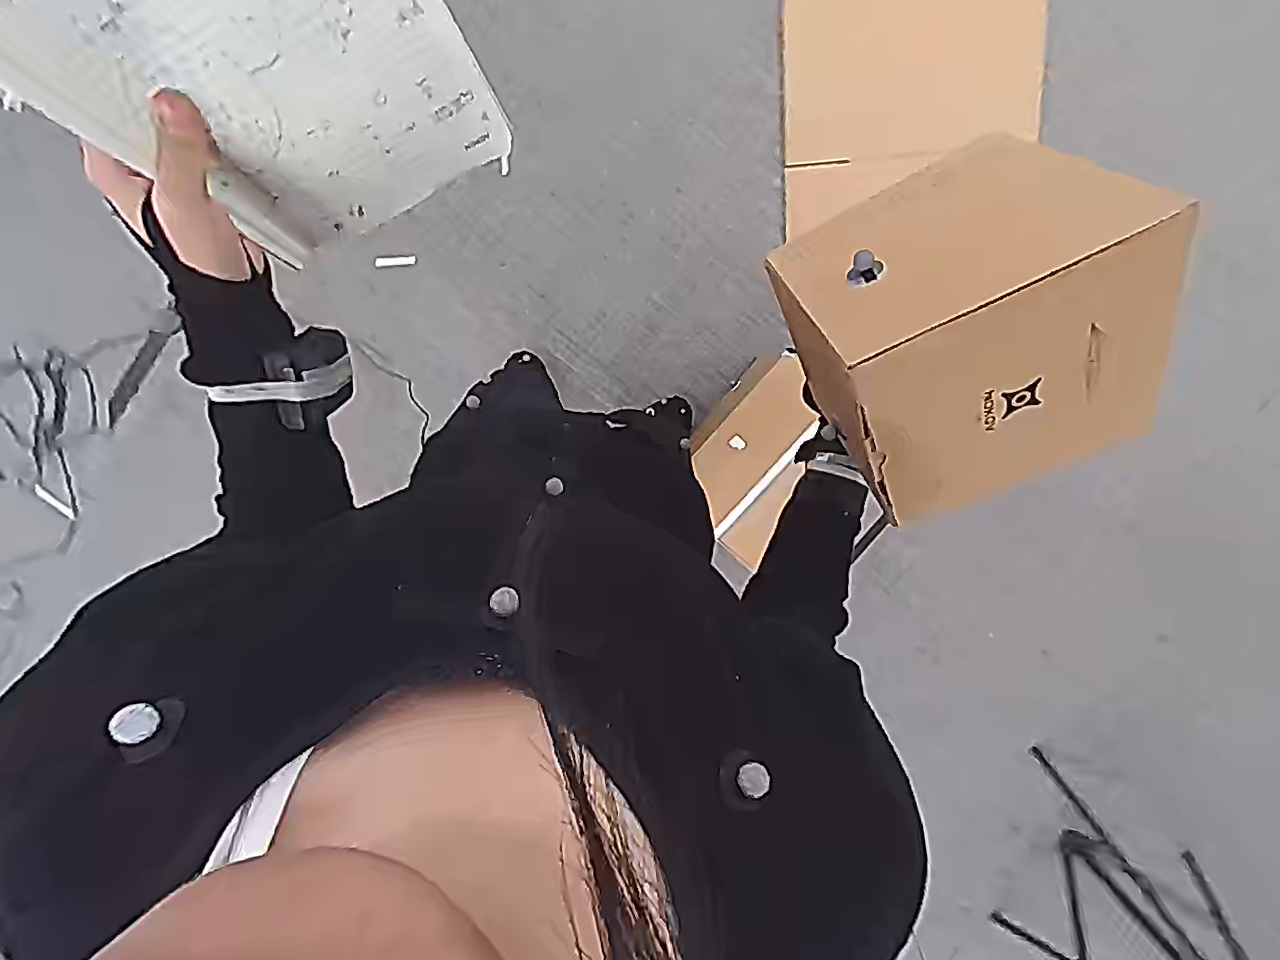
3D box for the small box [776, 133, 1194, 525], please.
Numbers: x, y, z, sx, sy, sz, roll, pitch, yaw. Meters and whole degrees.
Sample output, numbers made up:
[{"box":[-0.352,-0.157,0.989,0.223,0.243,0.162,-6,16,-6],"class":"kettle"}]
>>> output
[{"box":[0.213,-0.104,0.385,0.179,0.176,0.168,-27,133,14],"class":"small box"}]
